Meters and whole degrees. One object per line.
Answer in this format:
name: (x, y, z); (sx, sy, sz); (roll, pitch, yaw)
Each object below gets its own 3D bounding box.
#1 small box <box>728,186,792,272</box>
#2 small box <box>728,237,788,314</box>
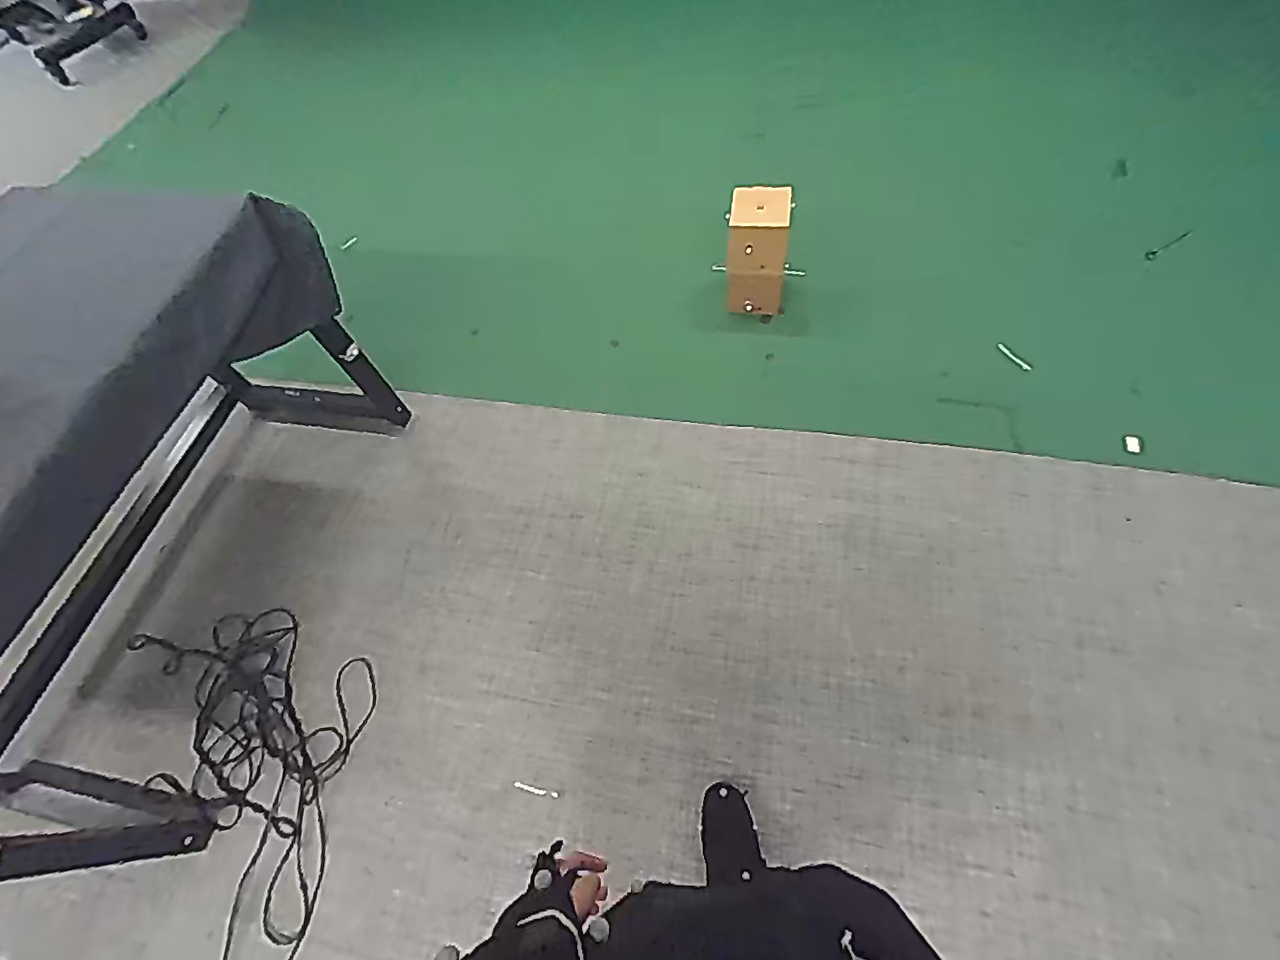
small box: (0.350, -0.736, 1.594); (0.168, 0.176, 0.179); (6, 61, 10)
small box: (0.376, -0.661, 1.737); (0.168, 0.176, 0.179); (6, 63, 11)
